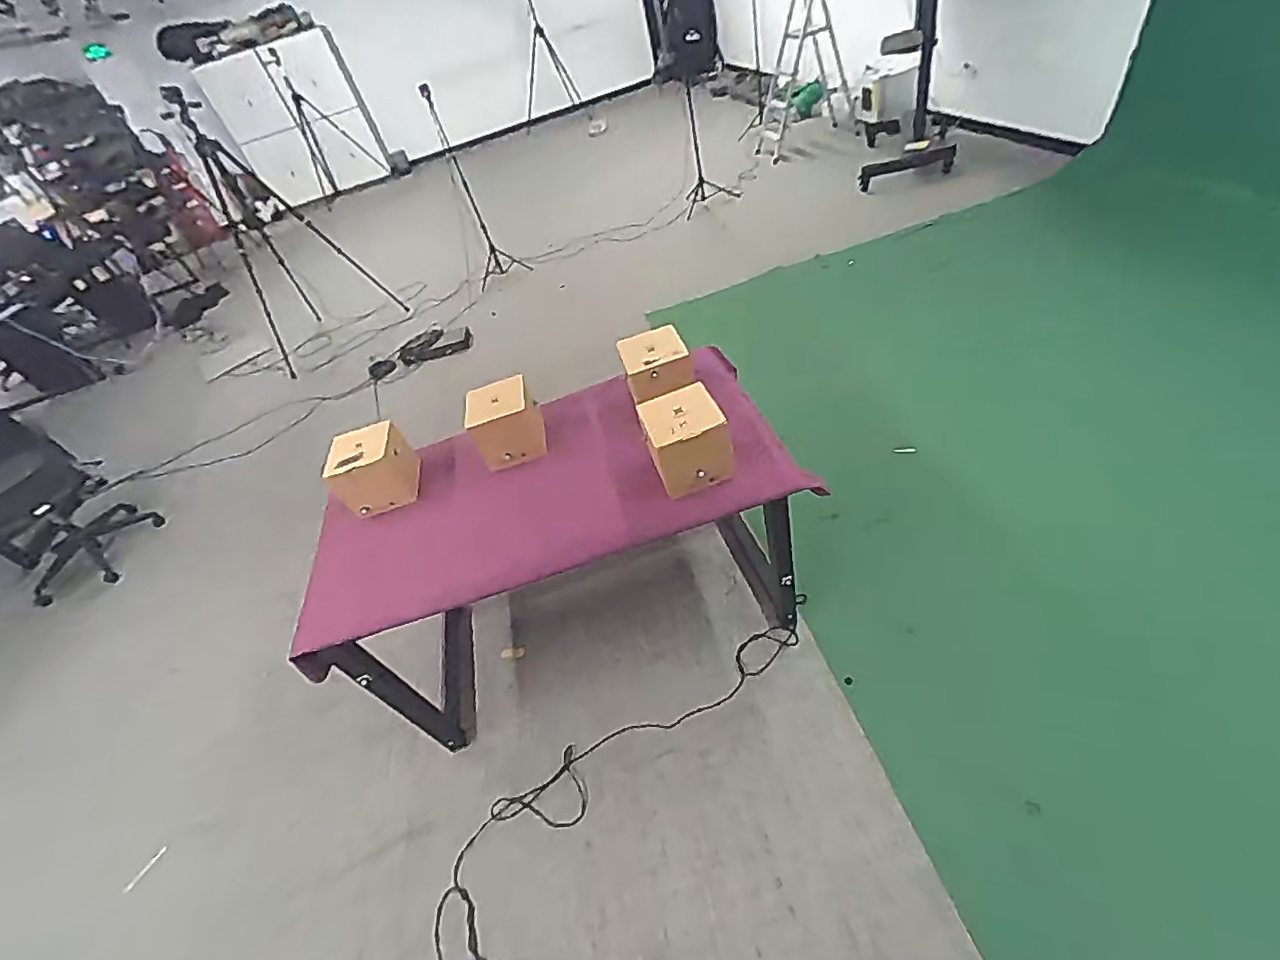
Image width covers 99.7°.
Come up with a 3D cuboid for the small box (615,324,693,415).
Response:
[{"bbox_3d":[0.042,-0.291,1.471,0.168,0.176,0.179,-18,44,0],"label":"small box"}]

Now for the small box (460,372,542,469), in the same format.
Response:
[{"bbox_3d":[-0.375,-0.161,1.475,0.168,0.176,0.179,-17,45,1],"label":"small box"}]

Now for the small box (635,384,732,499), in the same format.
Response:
[{"bbox_3d":[0.102,-0.088,1.250,0.168,0.176,0.179,-20,44,-1],"label":"small box"}]

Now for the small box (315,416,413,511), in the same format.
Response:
[{"bbox_3d":[-0.731,-0.037,1.457,0.168,0.176,0.179,-17,45,-1],"label":"small box"}]
